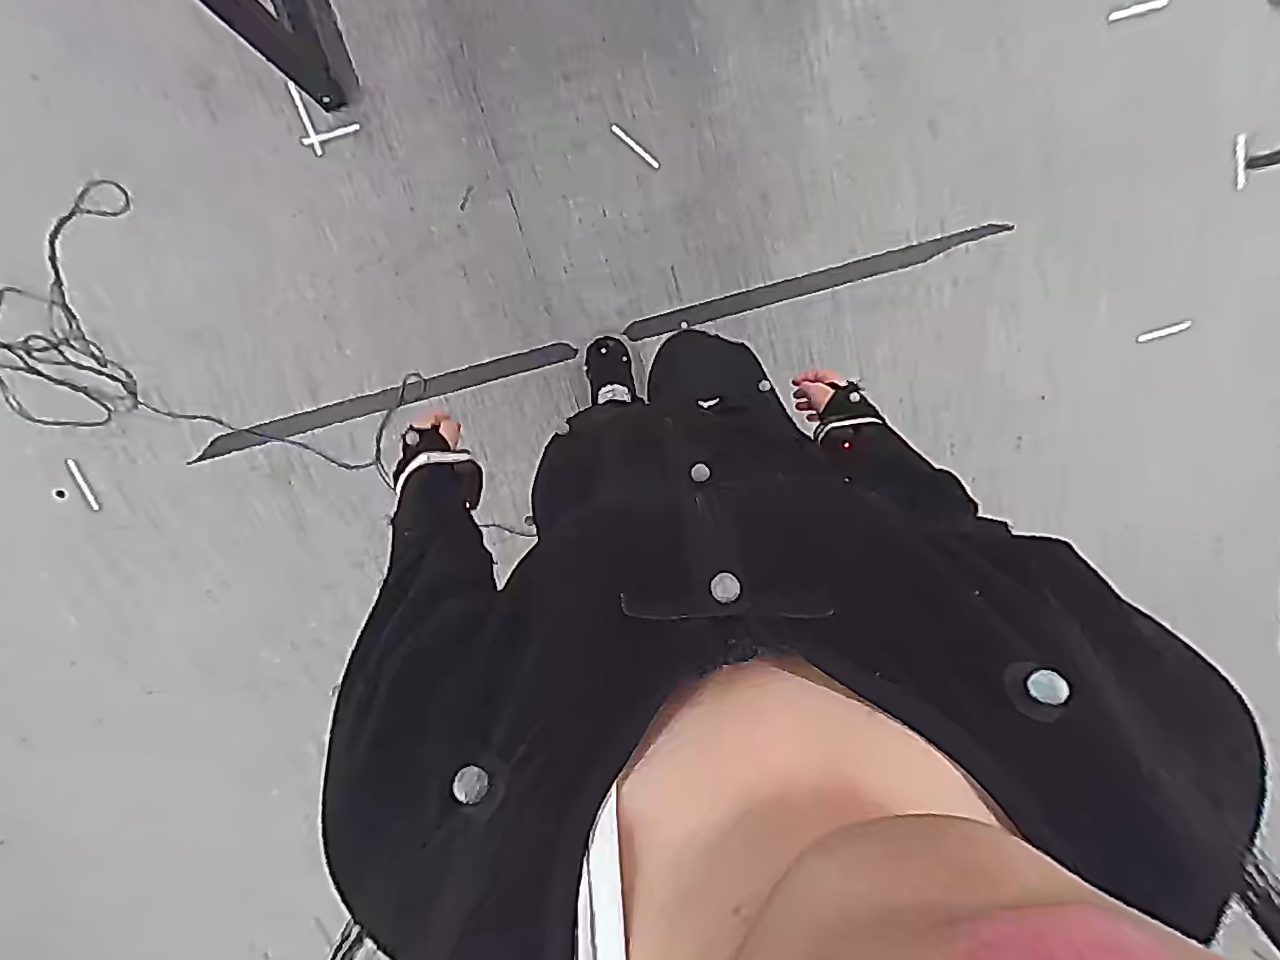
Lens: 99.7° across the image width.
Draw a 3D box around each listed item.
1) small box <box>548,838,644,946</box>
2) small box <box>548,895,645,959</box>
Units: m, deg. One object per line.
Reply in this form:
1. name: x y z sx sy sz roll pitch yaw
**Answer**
1. small box: -0.112 1.049 1.353 0.168 0.176 0.179 34 99 -12
2. small box: -0.097 1.082 1.194 0.168 0.176 0.179 36 97 -13
